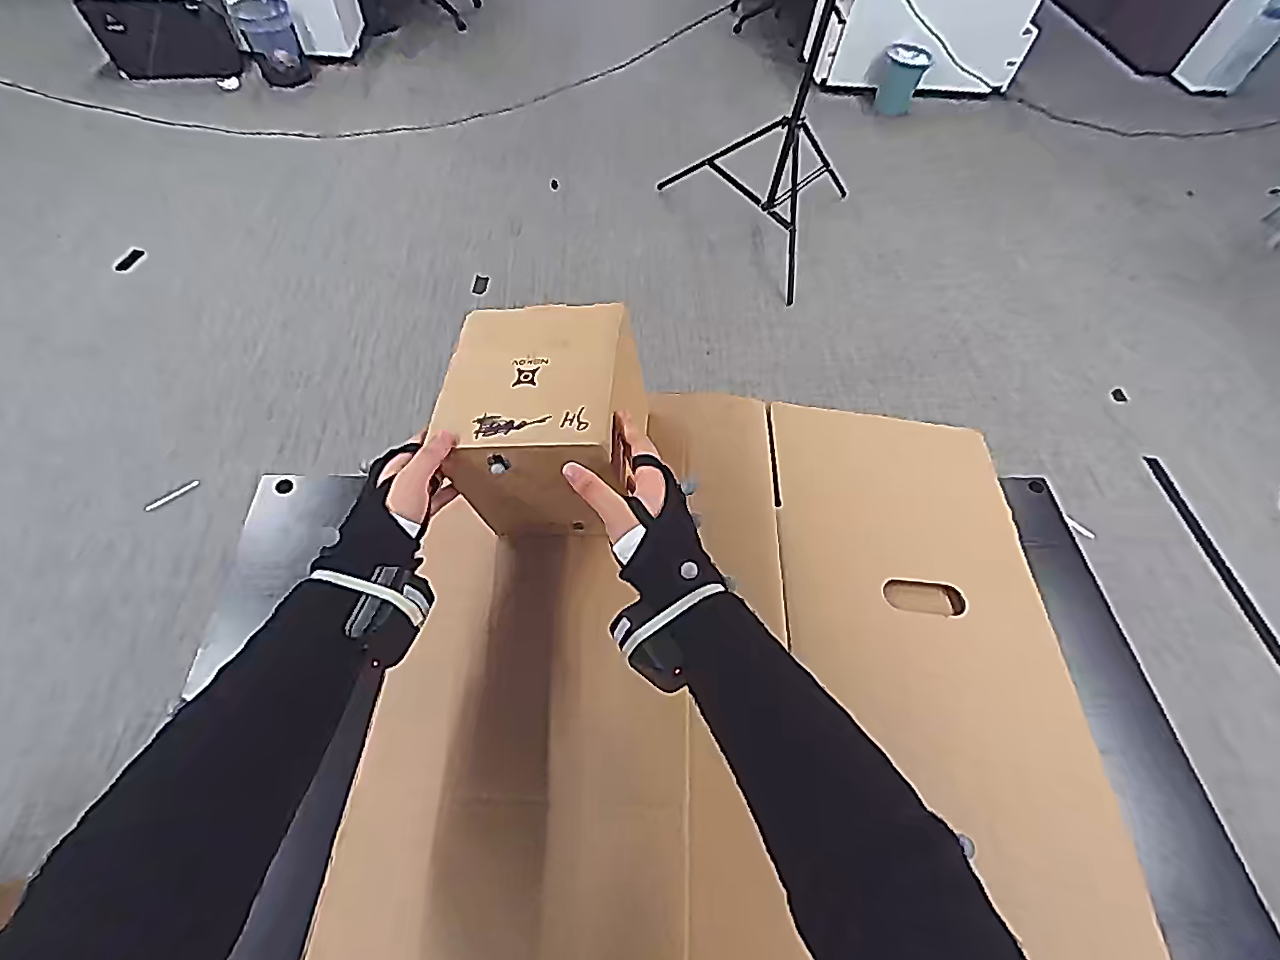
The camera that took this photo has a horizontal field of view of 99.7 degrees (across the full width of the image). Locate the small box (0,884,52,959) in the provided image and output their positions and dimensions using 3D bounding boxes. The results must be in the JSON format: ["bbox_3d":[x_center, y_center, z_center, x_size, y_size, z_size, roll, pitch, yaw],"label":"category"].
[{"bbox_3d":[-1.227,0.839,0.961,0.168,0.176,0.179,-4,59,-7],"label":"small box"}]

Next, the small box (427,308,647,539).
[{"bbox_3d":[-0.088,-0.054,0.568,0.168,0.176,0.179,-1,57,10],"label":"small box"}]
